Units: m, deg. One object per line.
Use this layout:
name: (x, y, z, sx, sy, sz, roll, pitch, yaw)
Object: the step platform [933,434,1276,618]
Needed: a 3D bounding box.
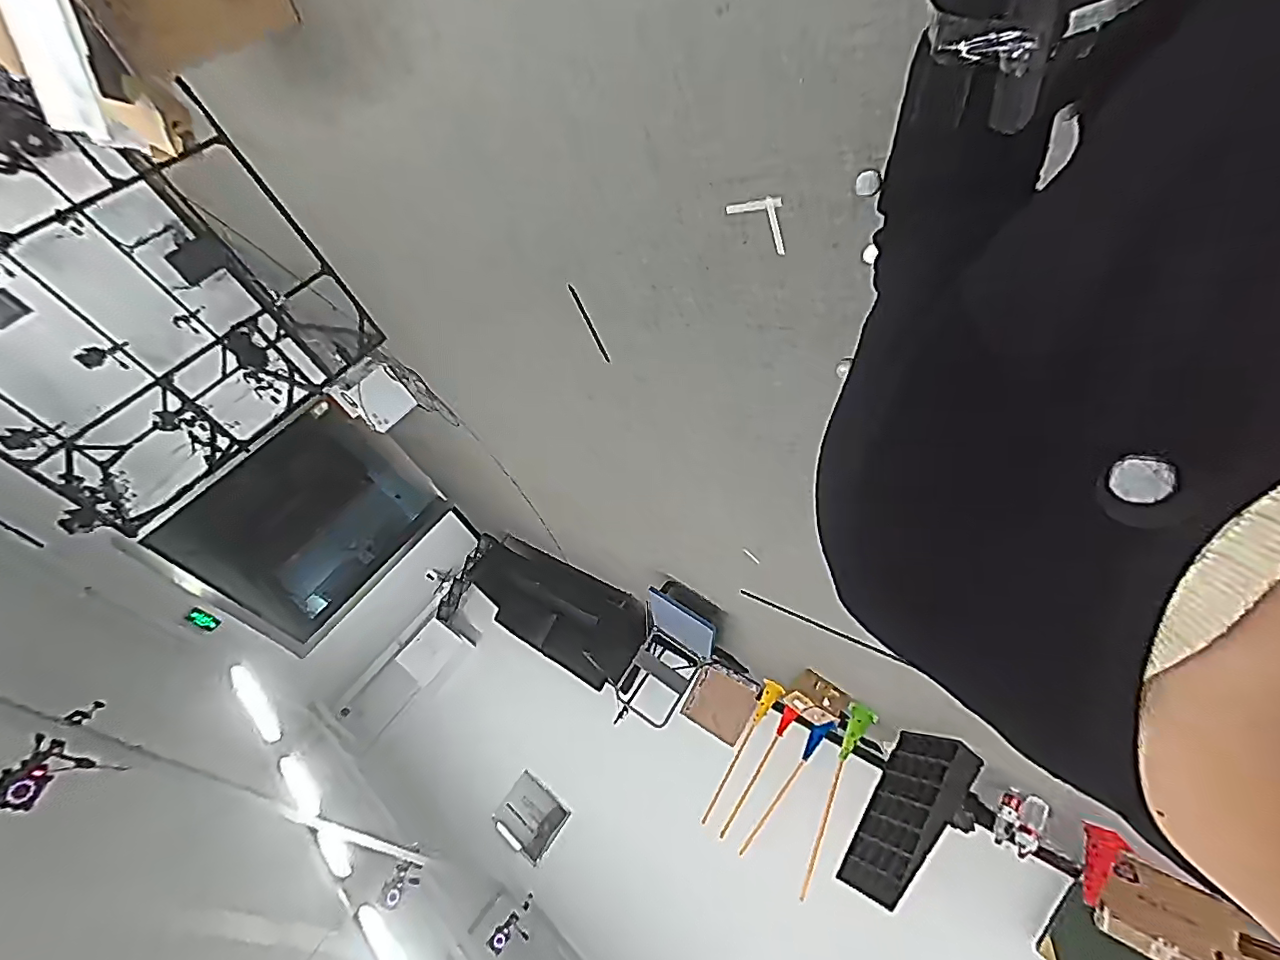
step platform: (1.181, 0.107, 1.463, 0.684, 0.204, 0.286, 23, 151, 36)
